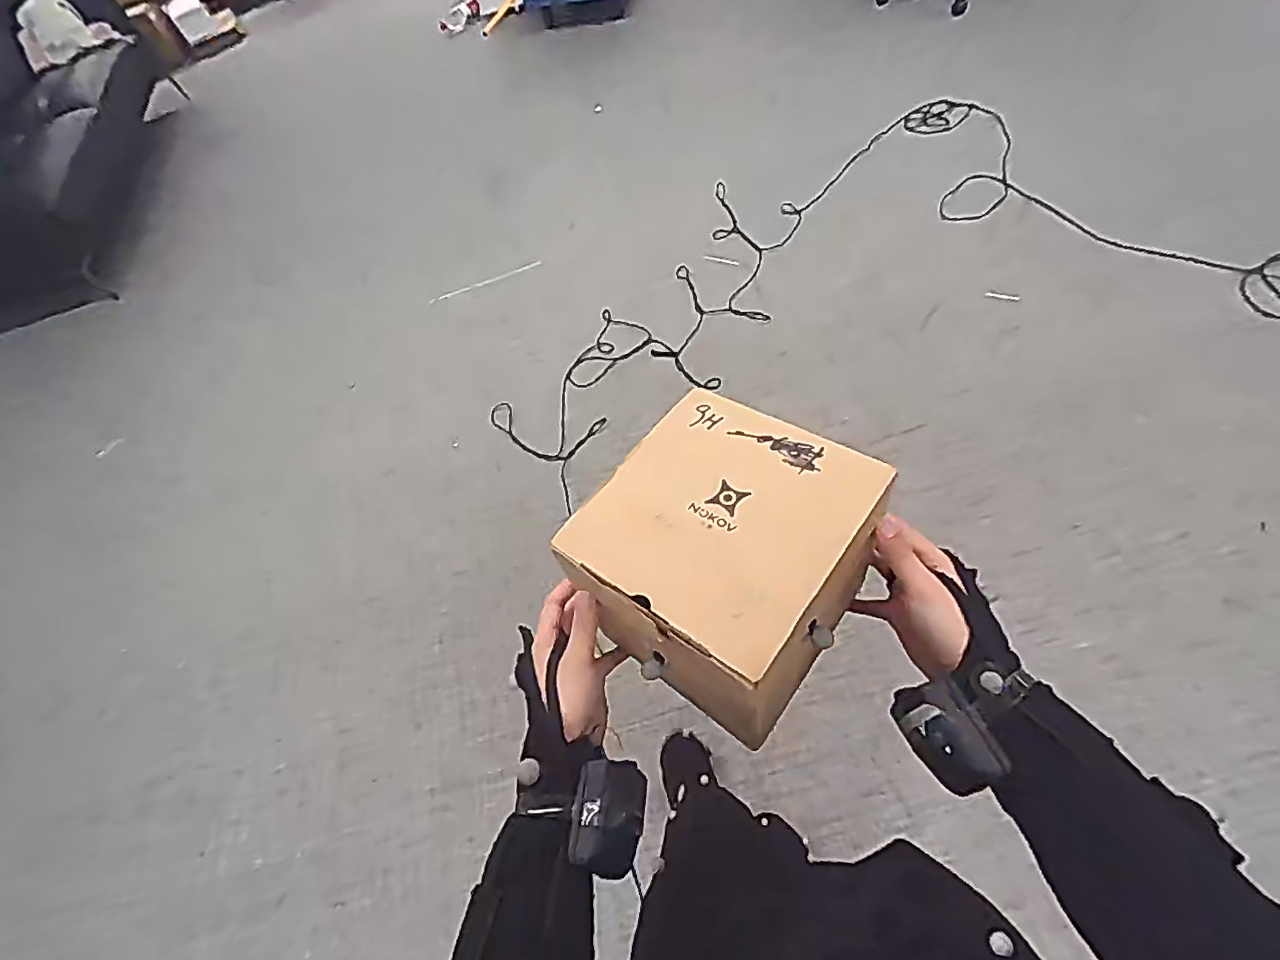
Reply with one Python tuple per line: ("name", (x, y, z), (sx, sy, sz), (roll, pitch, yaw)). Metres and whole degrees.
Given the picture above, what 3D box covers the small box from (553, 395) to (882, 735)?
("small box", (0.067, 0.070, 0.433), (0.168, 0.176, 0.179), (29, 65, 30))
